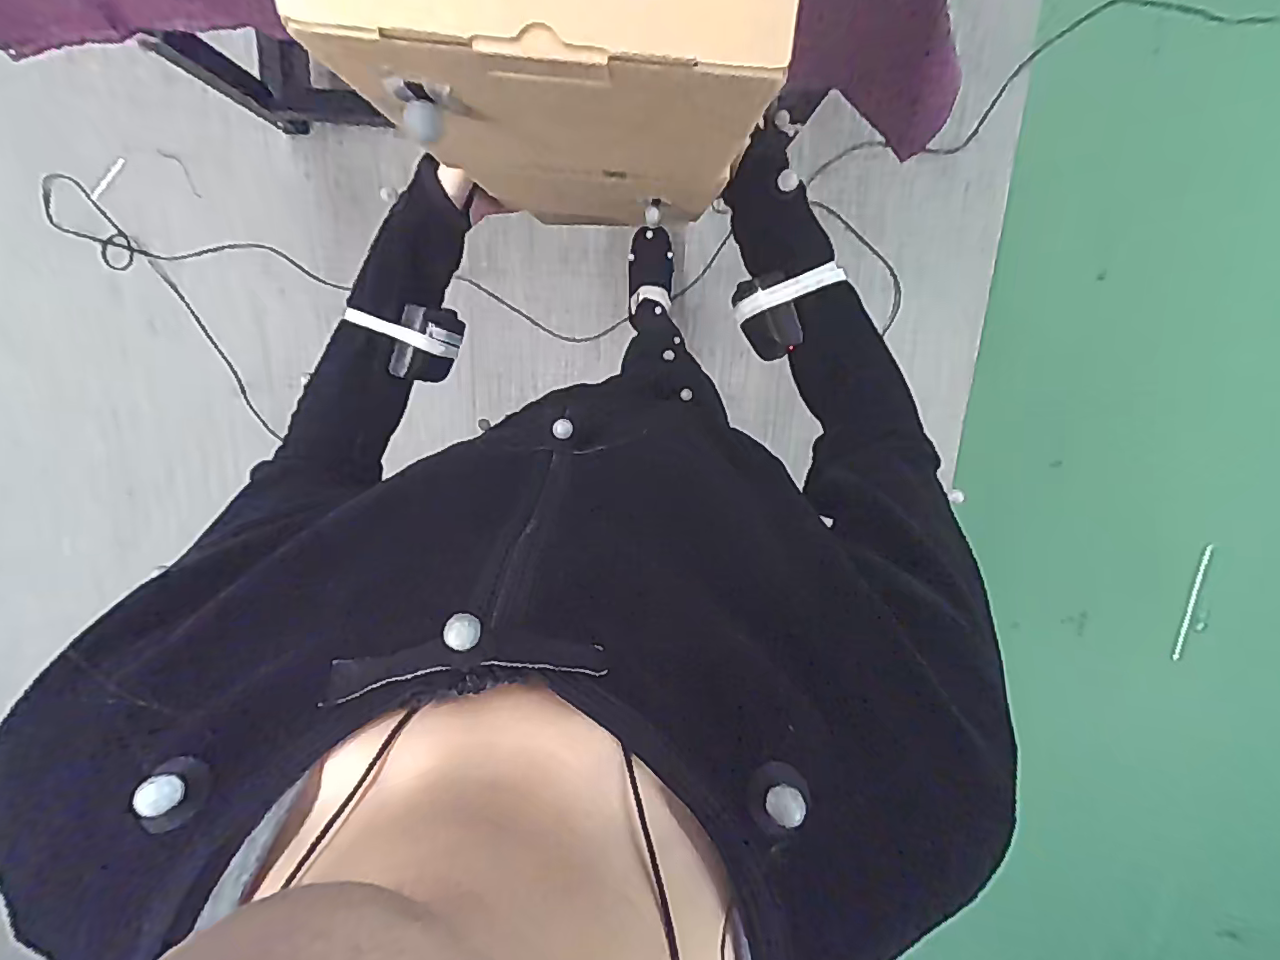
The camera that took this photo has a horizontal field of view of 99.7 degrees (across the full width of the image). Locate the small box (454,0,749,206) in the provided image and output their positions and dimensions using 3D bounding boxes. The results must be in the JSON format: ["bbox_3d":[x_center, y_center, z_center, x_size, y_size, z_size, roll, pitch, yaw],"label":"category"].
[{"bbox_3d":[-0.024,-0.308,0.393,0.179,0.176,0.168,3,106,-2],"label":"small box"}]

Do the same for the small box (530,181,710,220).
[{"bbox_3d":[-0.024,-0.368,0.546,0.179,0.176,0.168,0,106,-1],"label":"small box"}]
